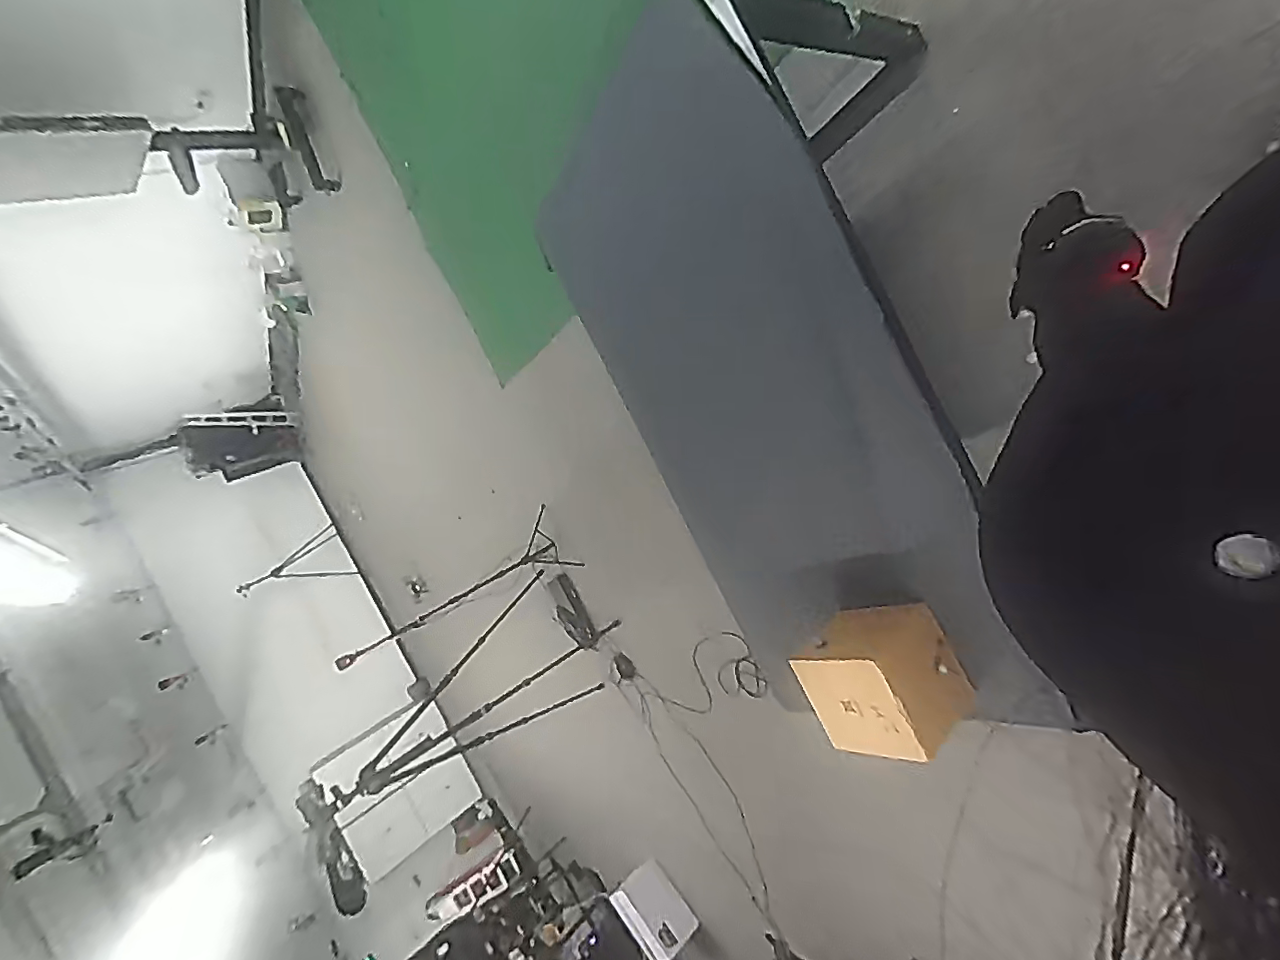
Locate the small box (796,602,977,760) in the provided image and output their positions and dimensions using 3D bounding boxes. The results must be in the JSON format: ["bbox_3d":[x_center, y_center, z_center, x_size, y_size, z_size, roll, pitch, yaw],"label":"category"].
[{"bbox_3d":[0.396,0.315,0.874,0.179,0.176,0.168,-31,87,55],"label":"small box"}]
